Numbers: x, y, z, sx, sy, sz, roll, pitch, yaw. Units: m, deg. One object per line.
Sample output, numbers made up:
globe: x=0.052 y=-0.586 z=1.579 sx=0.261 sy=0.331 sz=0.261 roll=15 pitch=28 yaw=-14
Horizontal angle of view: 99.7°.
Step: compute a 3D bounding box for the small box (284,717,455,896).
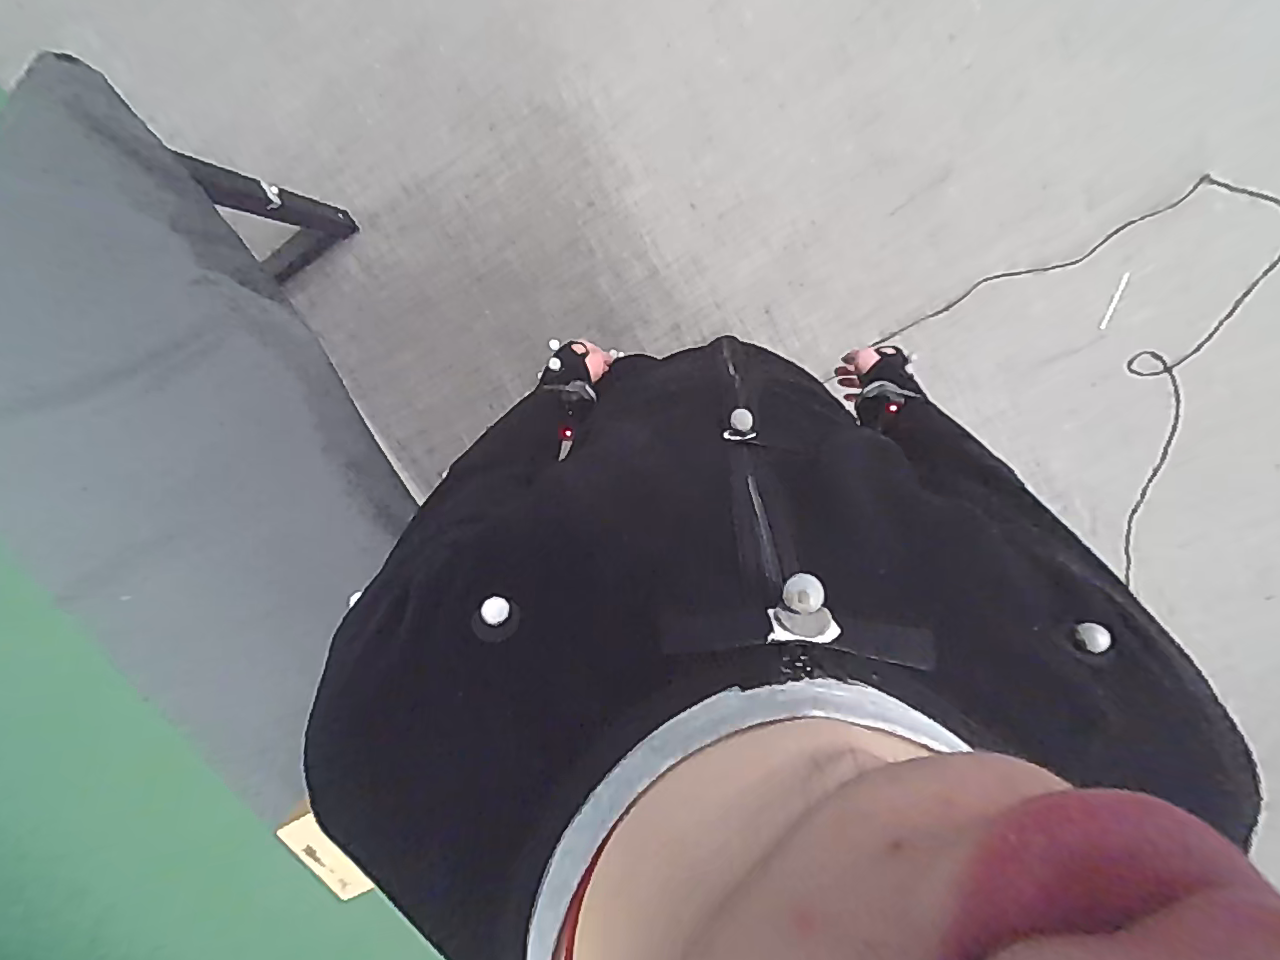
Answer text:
small box: x=-0.444 y=0.549 z=0.928 sx=0.179 sy=0.176 sz=0.168 roll=-33 pitch=101 yaw=10
